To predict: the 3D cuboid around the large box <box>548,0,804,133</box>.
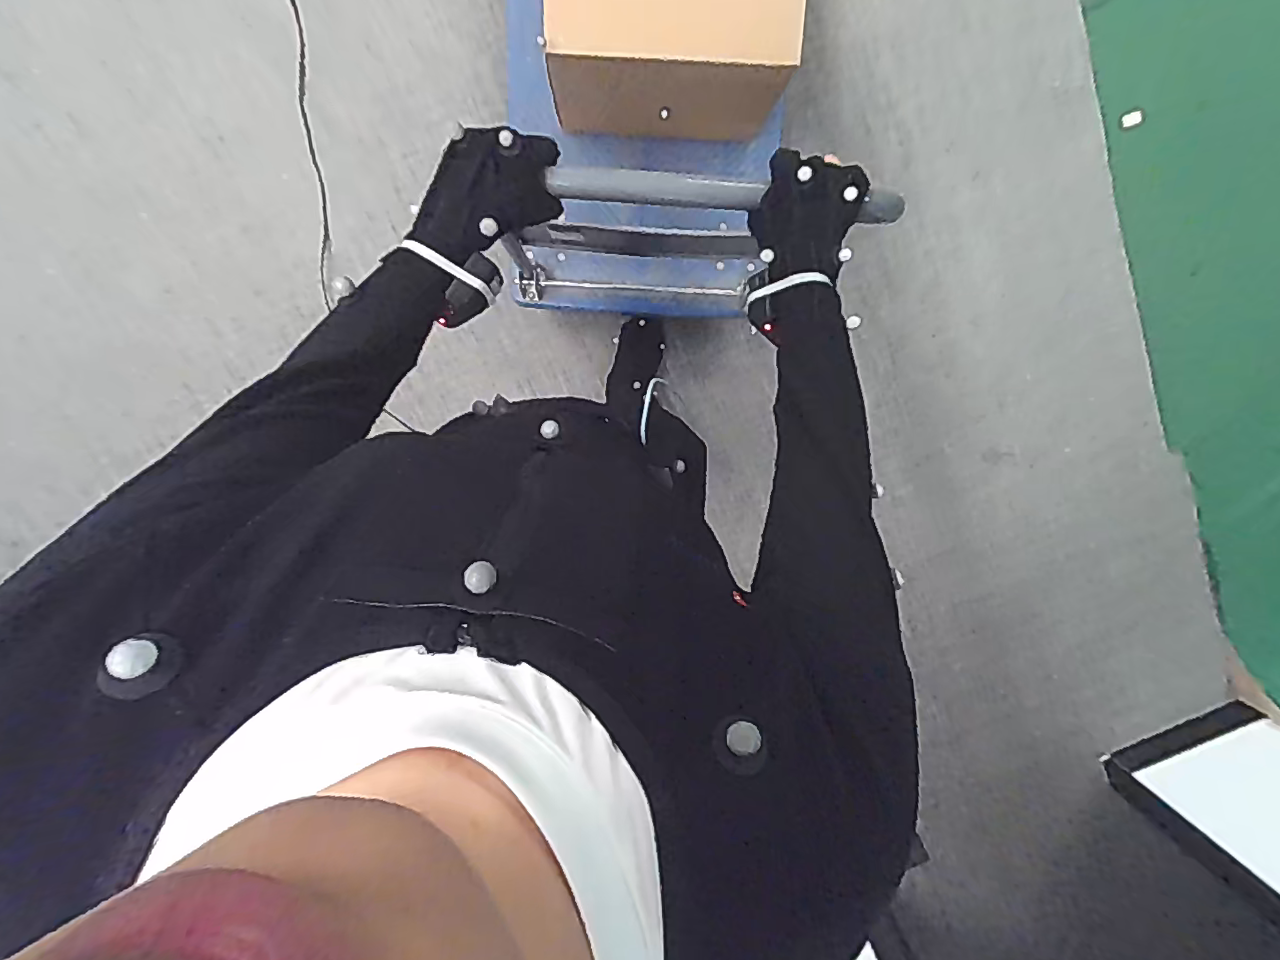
[{"bbox_3d":[0.054,-0.848,0.964,0.408,0.320,0.320,1,103,-3],"label":"large box"}]
